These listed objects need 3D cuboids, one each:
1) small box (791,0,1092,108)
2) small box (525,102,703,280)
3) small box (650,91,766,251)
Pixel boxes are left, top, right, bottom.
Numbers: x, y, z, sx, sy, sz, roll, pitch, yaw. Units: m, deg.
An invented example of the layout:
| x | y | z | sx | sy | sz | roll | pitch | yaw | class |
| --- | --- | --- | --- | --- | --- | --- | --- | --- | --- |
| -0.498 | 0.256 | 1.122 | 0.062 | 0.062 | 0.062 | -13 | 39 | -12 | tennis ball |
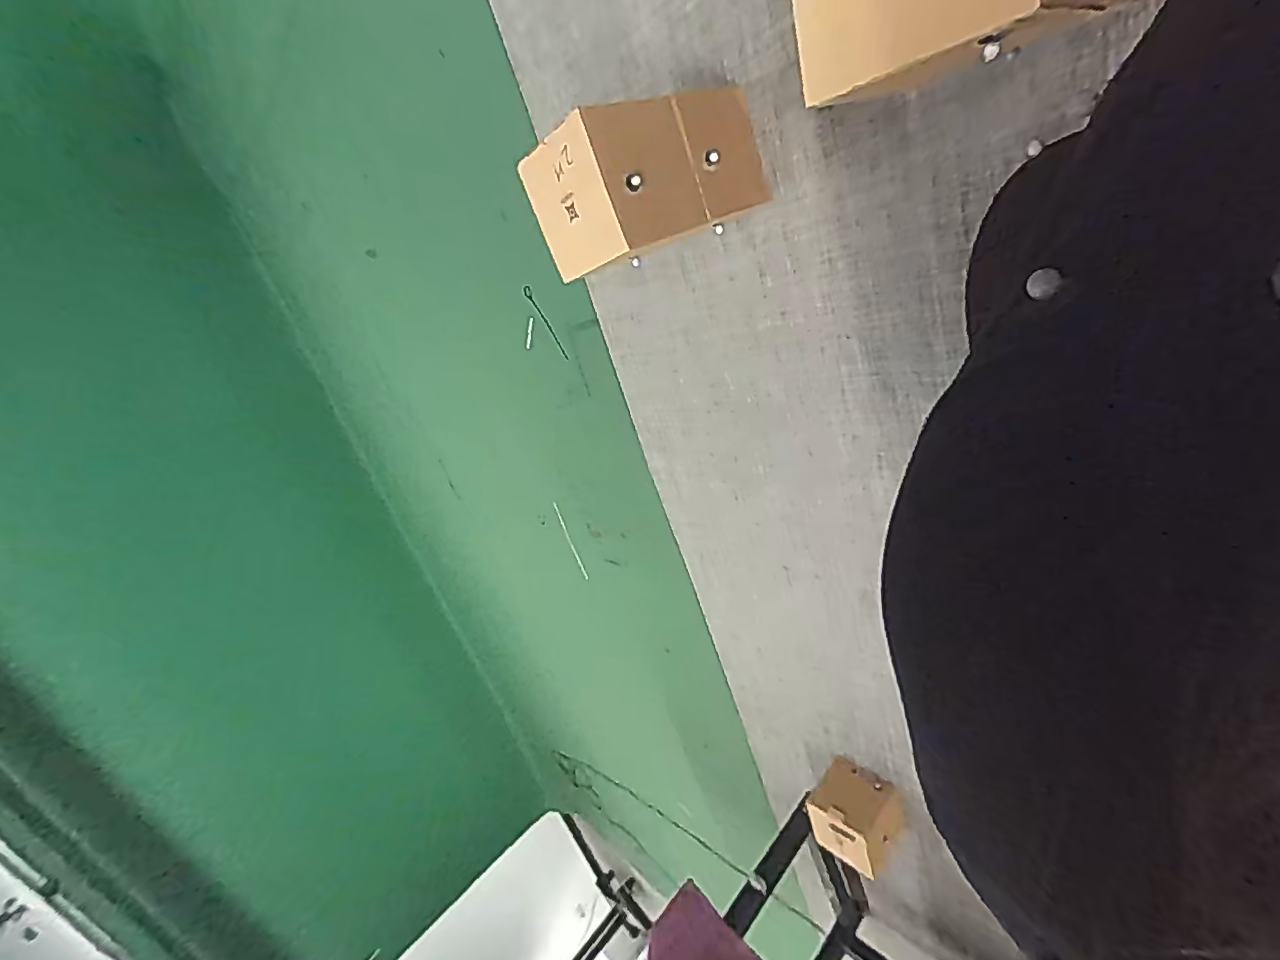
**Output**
| x | y | z | sx | sy | sz | roll | pitch | yaw | class |
| --- | --- | --- | --- | --- | --- | --- | --- | --- | --- |
| 0.242 | -0.429 | 0.439 | 0.179 | 0.176 | 0.168 | 12 | 126 | 48 | small box |
| -0.032 | -0.423 | 0.800 | 0.168 | 0.176 | 0.179 | 2 | 119 | 50 | small box |
| 0.084 | -0.502 | 0.887 | 0.168 | 0.176 | 0.179 | 5 | 121 | 50 | small box |
